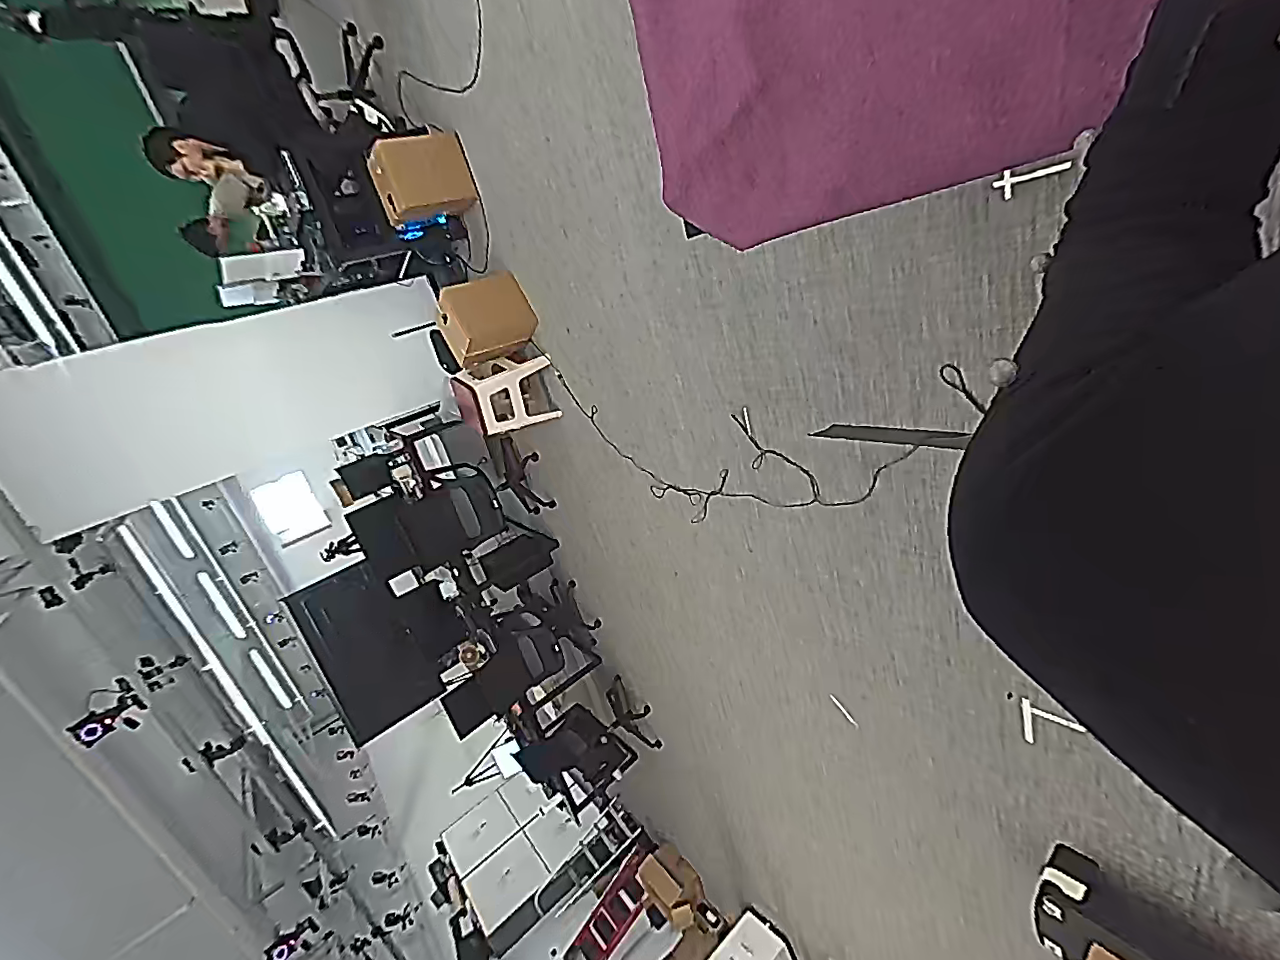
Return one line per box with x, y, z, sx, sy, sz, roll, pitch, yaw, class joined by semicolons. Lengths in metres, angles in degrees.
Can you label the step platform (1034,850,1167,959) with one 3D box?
1.517;1.398;1.501;0.684;0.204;0.286;11;125;52;step platform
